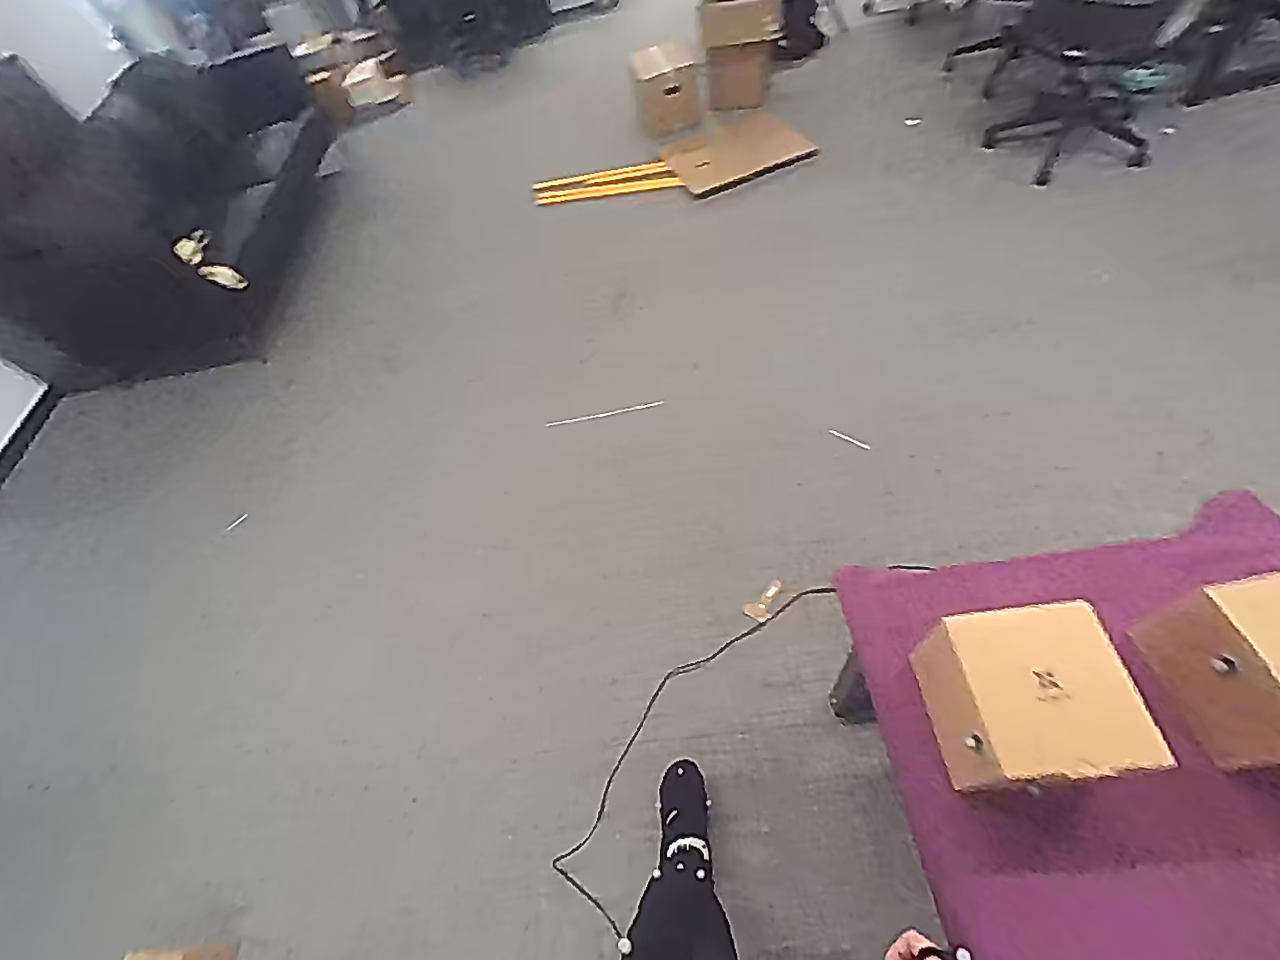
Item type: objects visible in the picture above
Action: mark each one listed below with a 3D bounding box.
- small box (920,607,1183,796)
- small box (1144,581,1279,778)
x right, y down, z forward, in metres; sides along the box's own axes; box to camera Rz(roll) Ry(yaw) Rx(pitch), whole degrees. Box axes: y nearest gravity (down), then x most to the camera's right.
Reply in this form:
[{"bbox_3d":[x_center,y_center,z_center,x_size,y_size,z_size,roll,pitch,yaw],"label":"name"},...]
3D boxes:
[{"bbox_3d":[0.466,0.272,0.654,0.168,0.176,0.179,-8,56,6],"label":"small box"},{"bbox_3d":[0.750,0.225,0.618,0.168,0.176,0.179,-13,55,6],"label":"small box"}]
